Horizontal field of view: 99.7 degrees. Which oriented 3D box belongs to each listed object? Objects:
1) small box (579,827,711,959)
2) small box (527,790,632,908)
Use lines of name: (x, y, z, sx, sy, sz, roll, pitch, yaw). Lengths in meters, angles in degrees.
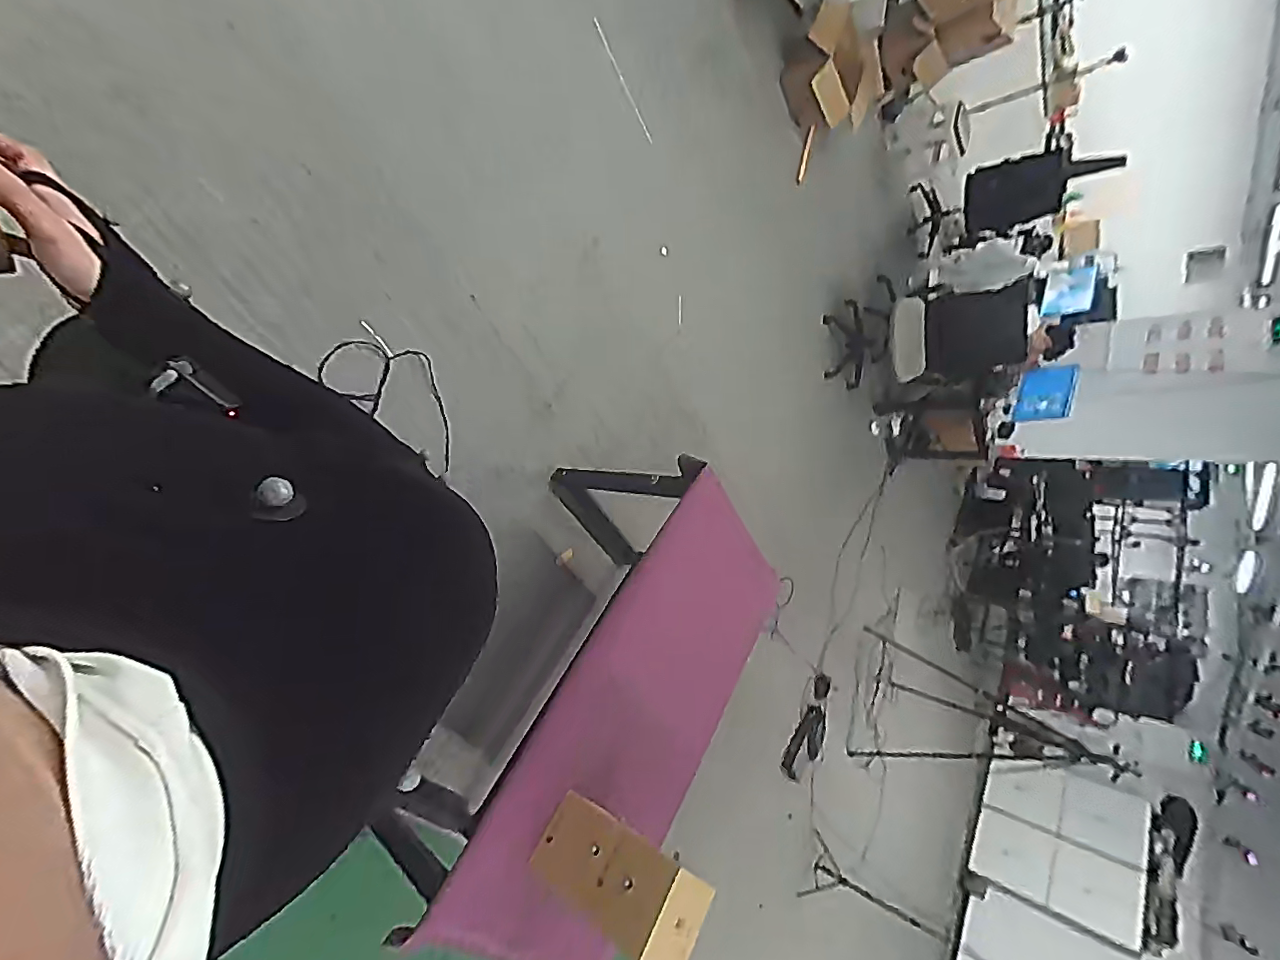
small box: (0.009, 0.839, 1.090, 0.168, 0.176, 0.179, -55, 130, -27)
small box: (-0.112, 0.827, 1.203, 0.168, 0.176, 0.179, -57, 131, -27)
